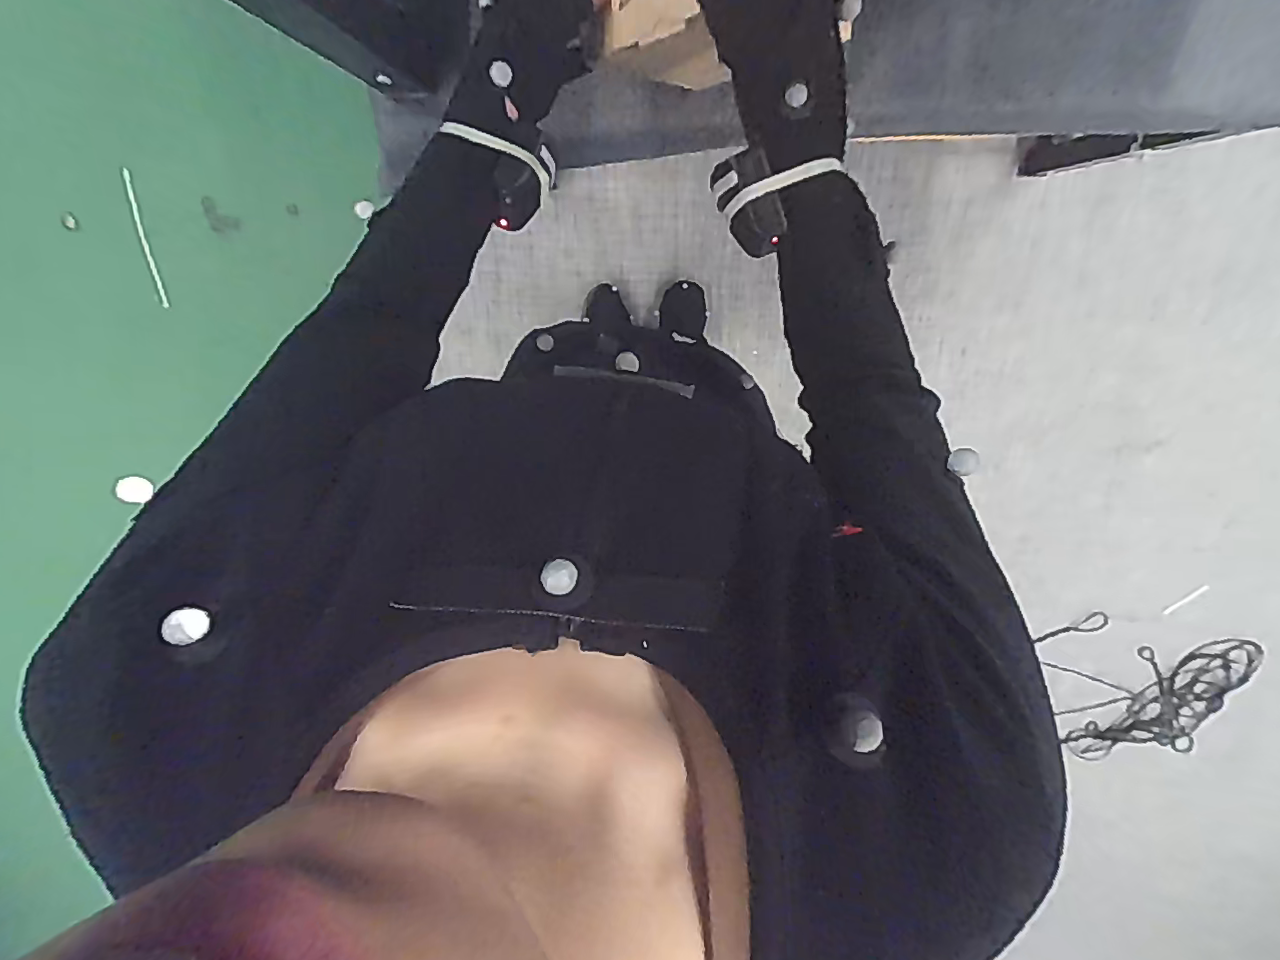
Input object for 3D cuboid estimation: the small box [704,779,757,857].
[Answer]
[{"bbox_3d":[0.319,1.196,1.915,0.168,0.176,0.179,-3,111,3],"label":"small box"}]
